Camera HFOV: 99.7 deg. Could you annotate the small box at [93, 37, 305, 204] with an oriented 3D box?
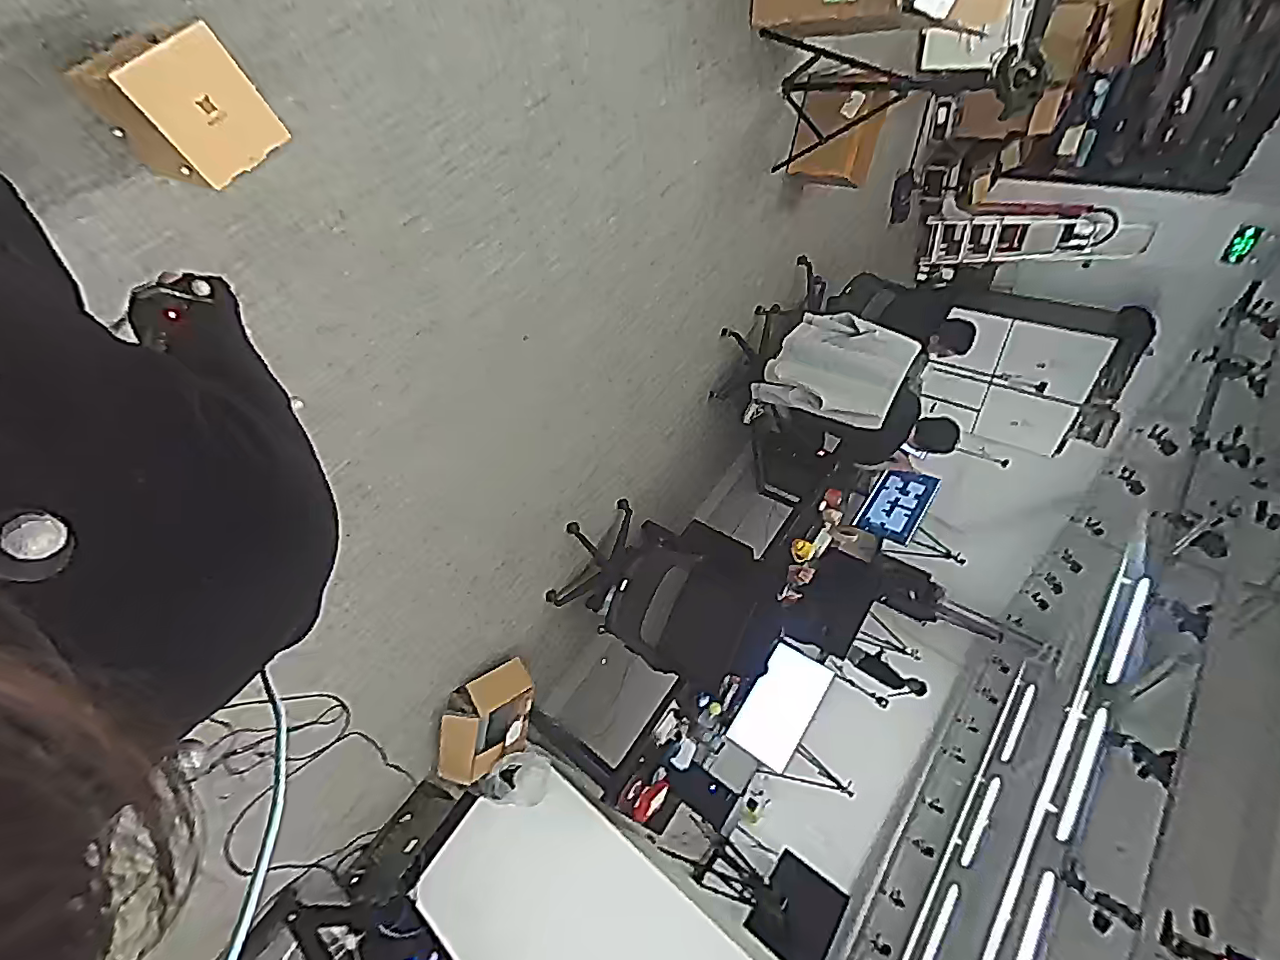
[{"bbox_3d":[-0.712,-0.587,0.896,0.168,0.176,0.179,85,21,-67],"label":"small box"}]
